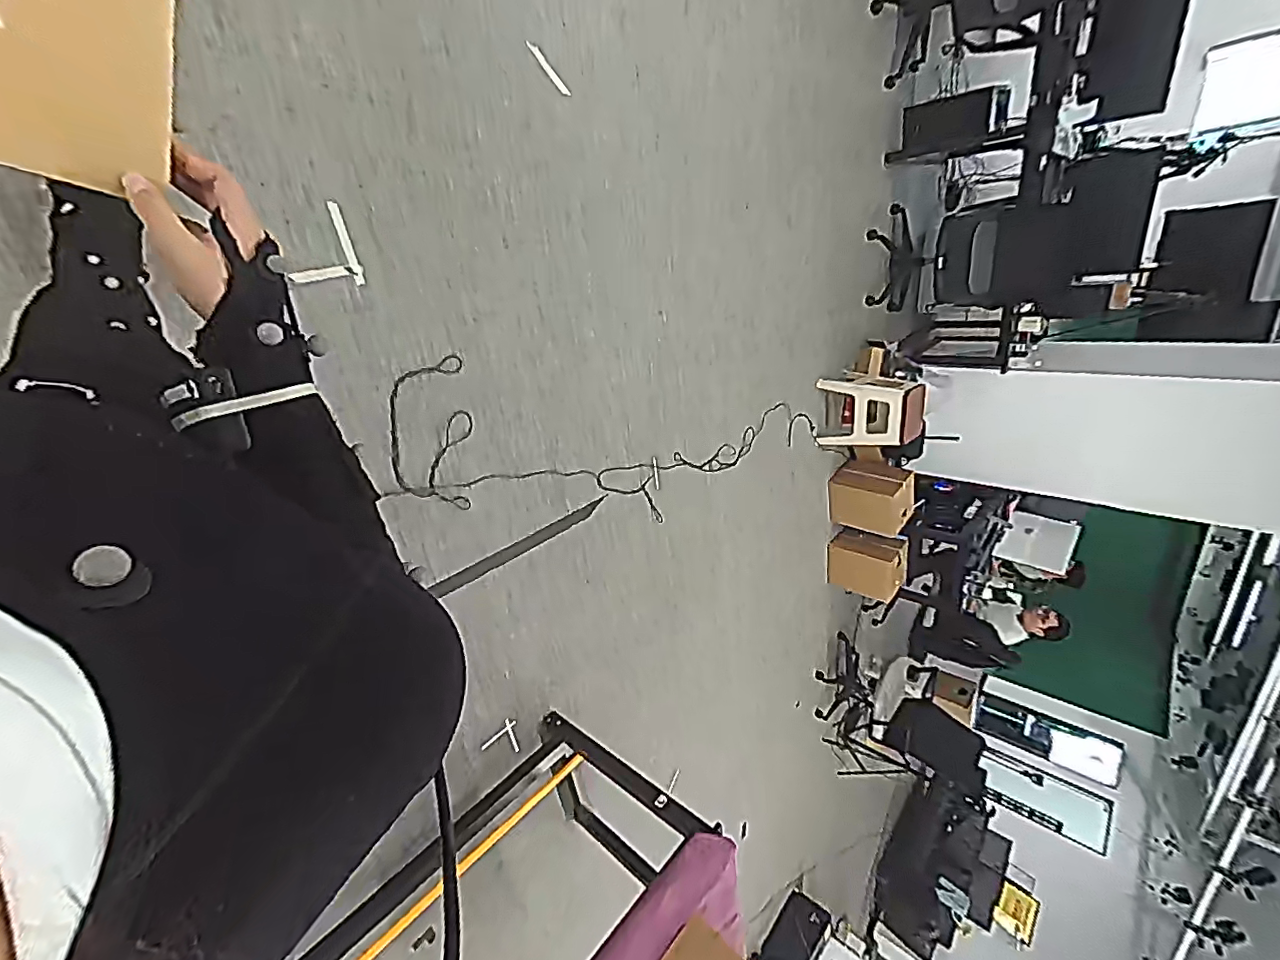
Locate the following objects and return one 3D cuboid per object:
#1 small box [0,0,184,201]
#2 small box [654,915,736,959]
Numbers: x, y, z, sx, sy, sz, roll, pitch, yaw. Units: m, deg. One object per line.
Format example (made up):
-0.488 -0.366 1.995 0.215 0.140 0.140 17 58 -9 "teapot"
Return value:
-0.403 -0.291 0.328 0.179 0.176 0.168 0 112 -46 "small box"
0.139 1.287 1.383 0.179 0.176 0.168 -31 123 -36 "small box"
